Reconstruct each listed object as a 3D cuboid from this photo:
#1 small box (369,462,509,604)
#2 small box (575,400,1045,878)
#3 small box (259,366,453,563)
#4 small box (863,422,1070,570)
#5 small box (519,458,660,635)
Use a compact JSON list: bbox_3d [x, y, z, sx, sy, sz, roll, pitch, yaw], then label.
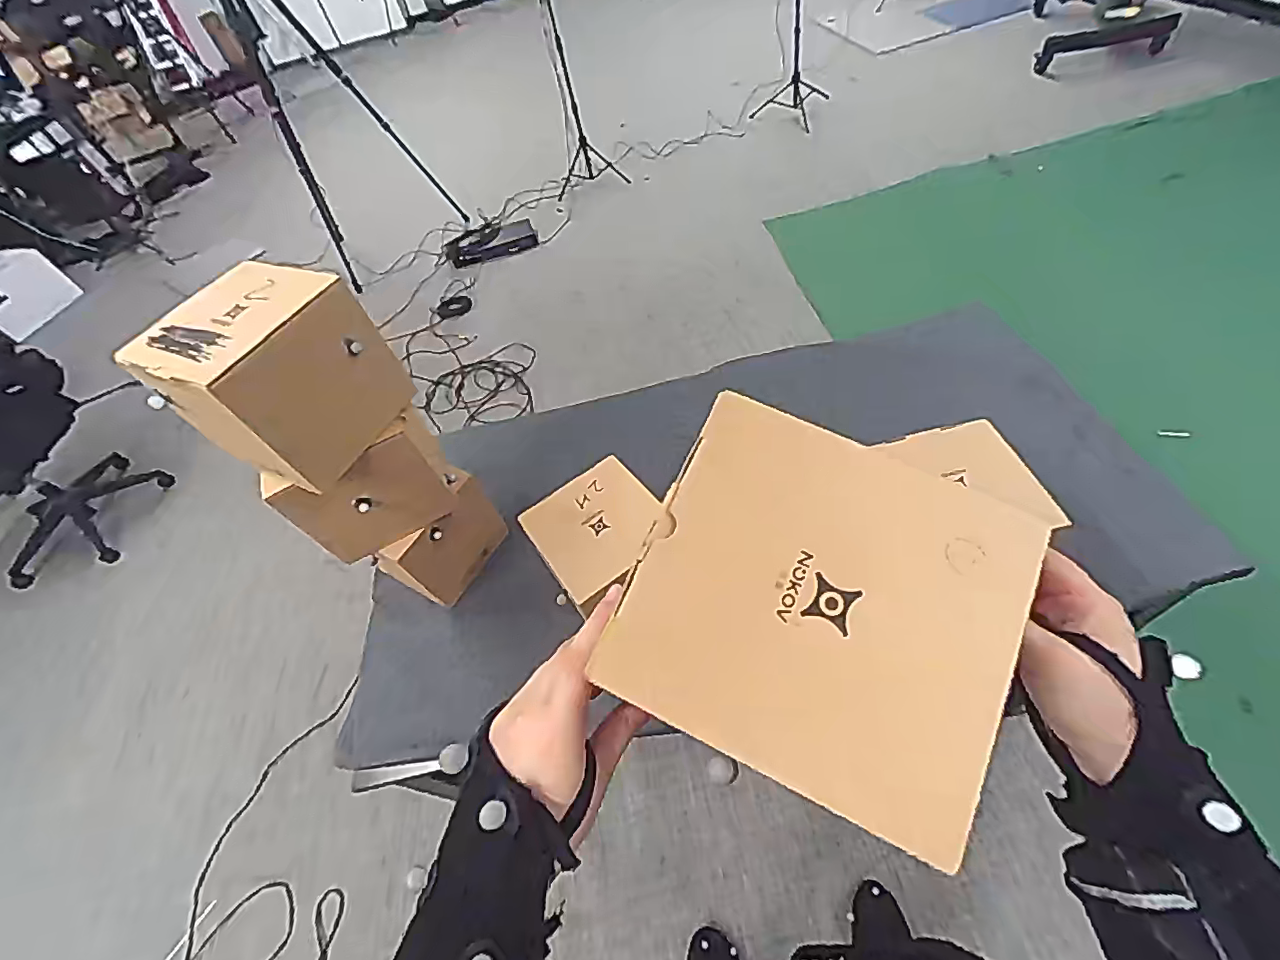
[{"bbox_3d":[-0.350,0.076,0.881,0.179,0.176,0.168,20,60,26],"label":"small box"},{"bbox_3d":[0.088,0.083,0.331,0.179,0.176,0.168,24,76,12],"label":"small box"},{"bbox_3d":[-0.380,-0.019,0.749,0.179,0.176,0.168,-29,53,-8],"label":"small box"},{"bbox_3d":[0.397,0.056,0.710,0.168,0.176,0.179,-14,50,4],"label":"small box"},{"bbox_3d":[-0.040,0.109,0.778,0.168,0.176,0.179,-34,52,-14],"label":"small box"}]
